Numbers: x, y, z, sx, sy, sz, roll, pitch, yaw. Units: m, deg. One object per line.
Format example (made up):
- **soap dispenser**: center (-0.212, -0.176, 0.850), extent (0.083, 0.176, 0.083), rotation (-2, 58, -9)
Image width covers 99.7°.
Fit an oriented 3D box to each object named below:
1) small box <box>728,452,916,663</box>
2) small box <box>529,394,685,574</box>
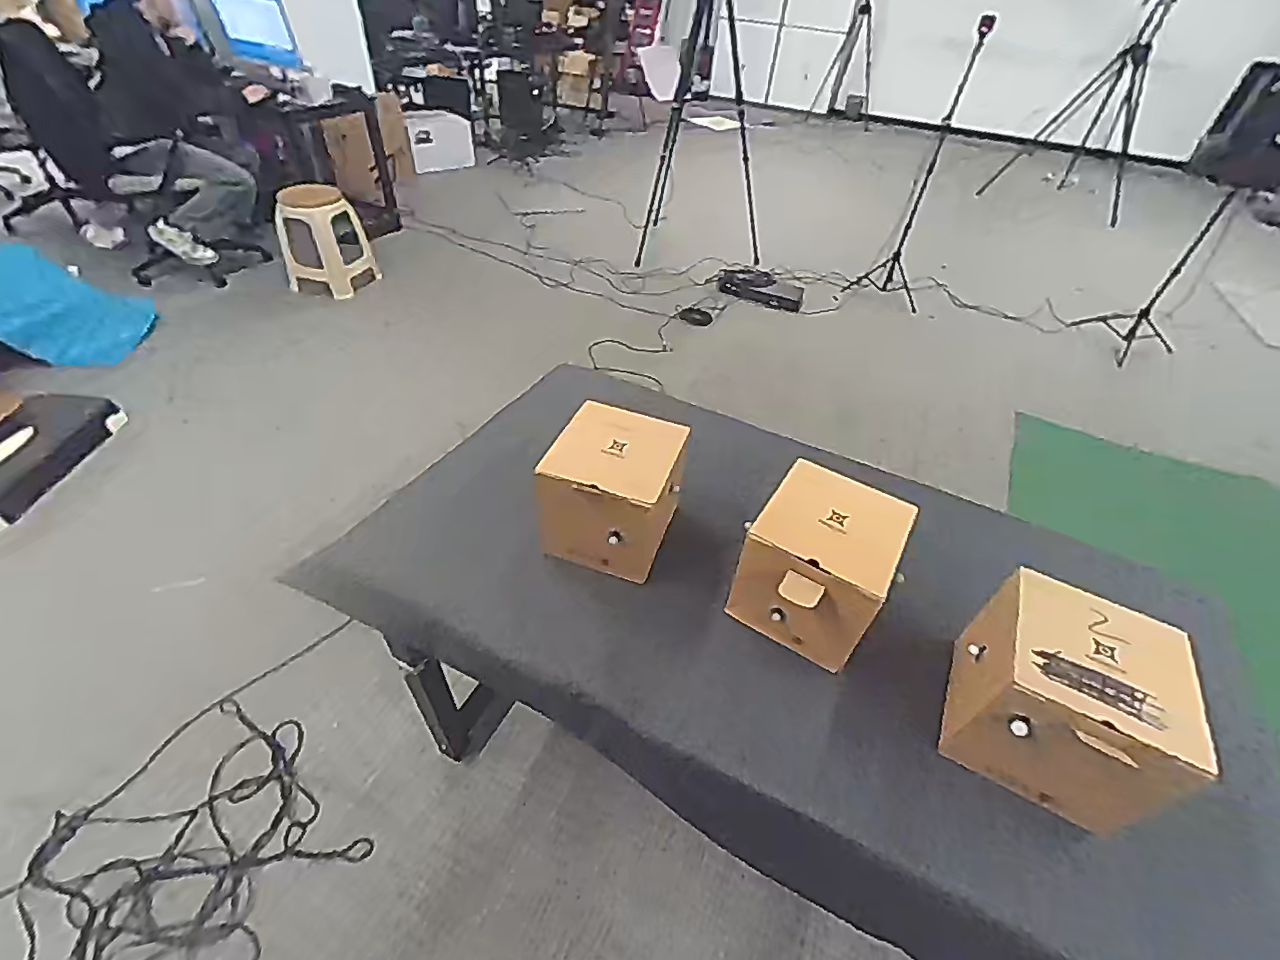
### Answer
- **small box**: center (0.231, 0.100, 0.714), extent (0.168, 0.176, 0.179), rotation (26, 47, 20)
- **small box**: center (-0.044, 0.006, 0.784), extent (0.168, 0.176, 0.179), rotation (17, 43, 10)
